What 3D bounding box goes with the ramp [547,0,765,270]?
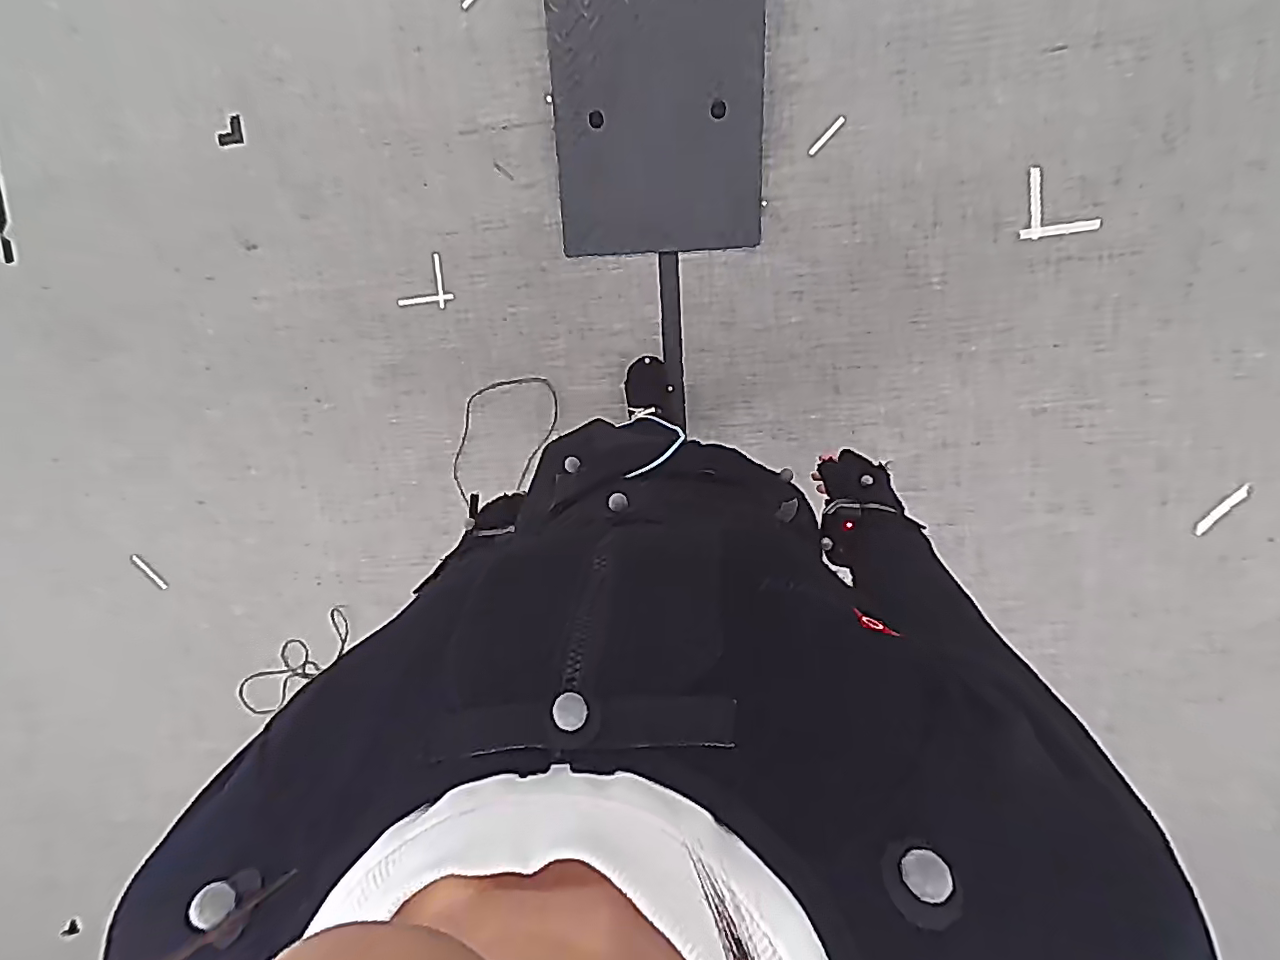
[{"bbox_3d":[0.035,-1.028,1.231,0.509,0.206,0.991,-4,97,6],"label":"ramp"}]
